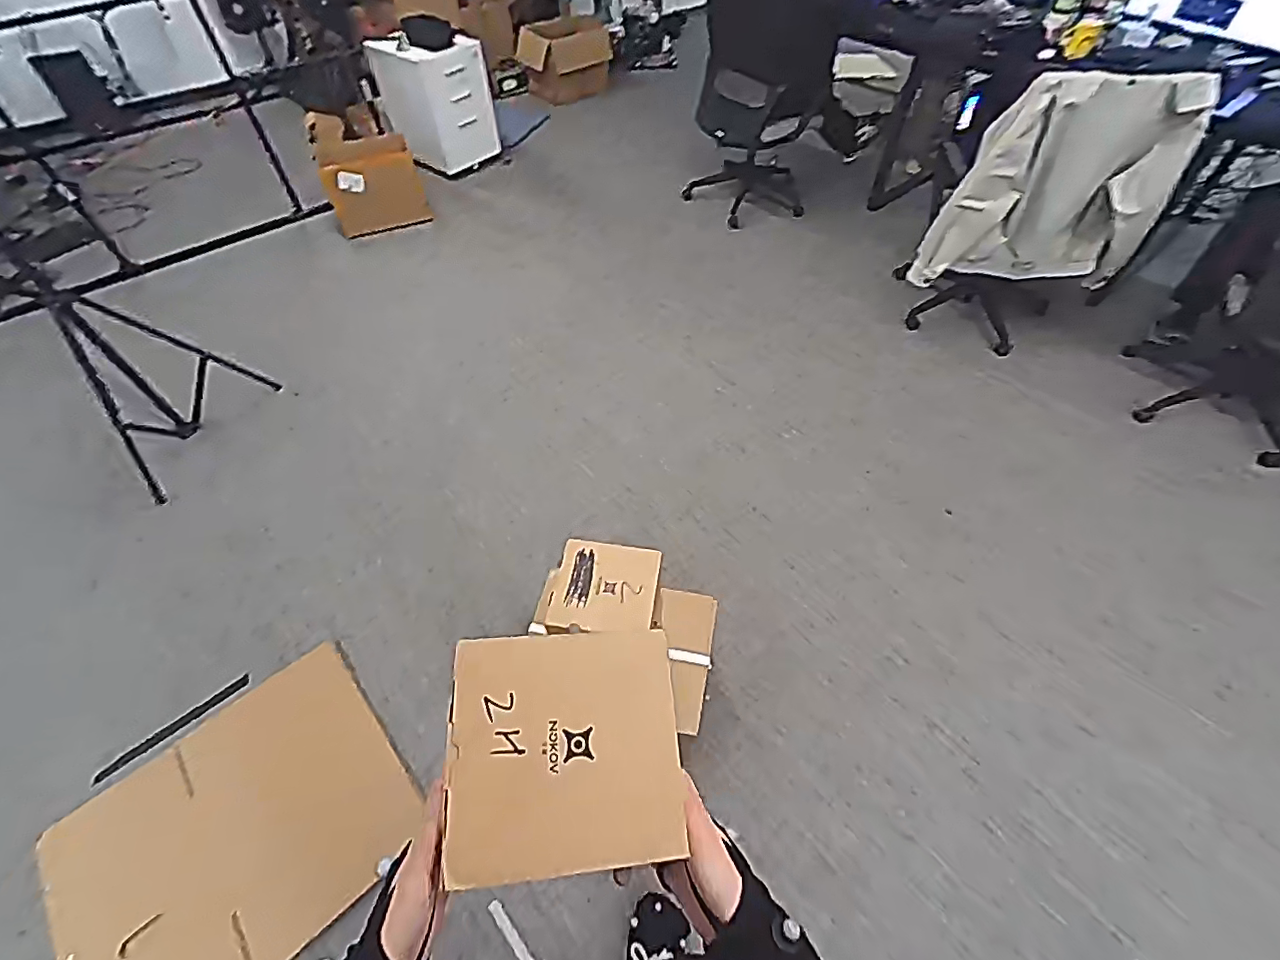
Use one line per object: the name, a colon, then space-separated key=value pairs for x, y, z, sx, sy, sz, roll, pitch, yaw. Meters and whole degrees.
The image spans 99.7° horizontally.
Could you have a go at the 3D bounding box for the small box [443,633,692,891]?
small box: x=-0.067 y=0.237 z=0.480 sx=0.179 sy=0.176 sz=0.168 roll=0 pitch=63 yaw=-11

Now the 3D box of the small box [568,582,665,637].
small box: x=-0.046 y=0.330 z=1.113 sx=0.179 sy=0.176 sz=0.168 roll=7 pitch=54 yaw=5
